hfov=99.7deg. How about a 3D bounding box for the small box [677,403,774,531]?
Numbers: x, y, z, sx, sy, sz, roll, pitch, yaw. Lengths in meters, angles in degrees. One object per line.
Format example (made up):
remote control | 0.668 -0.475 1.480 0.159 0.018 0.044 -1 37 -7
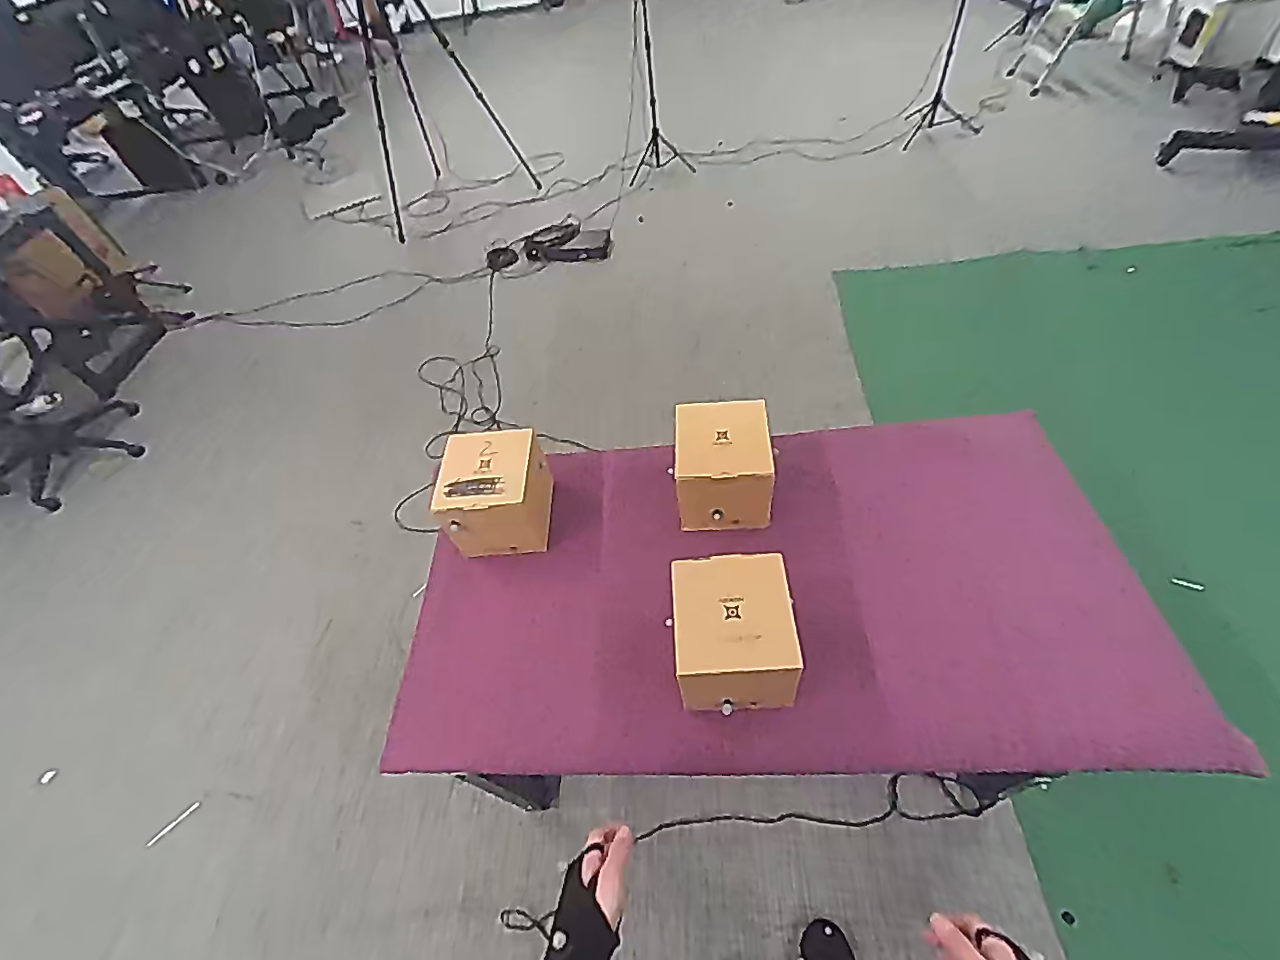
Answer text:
small box | 0.156 -0.021 1.018 0.168 0.176 0.179 -3 54 8

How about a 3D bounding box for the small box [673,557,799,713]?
small box | 0.139 0.238 0.820 0.168 0.176 0.179 -5 51 8
